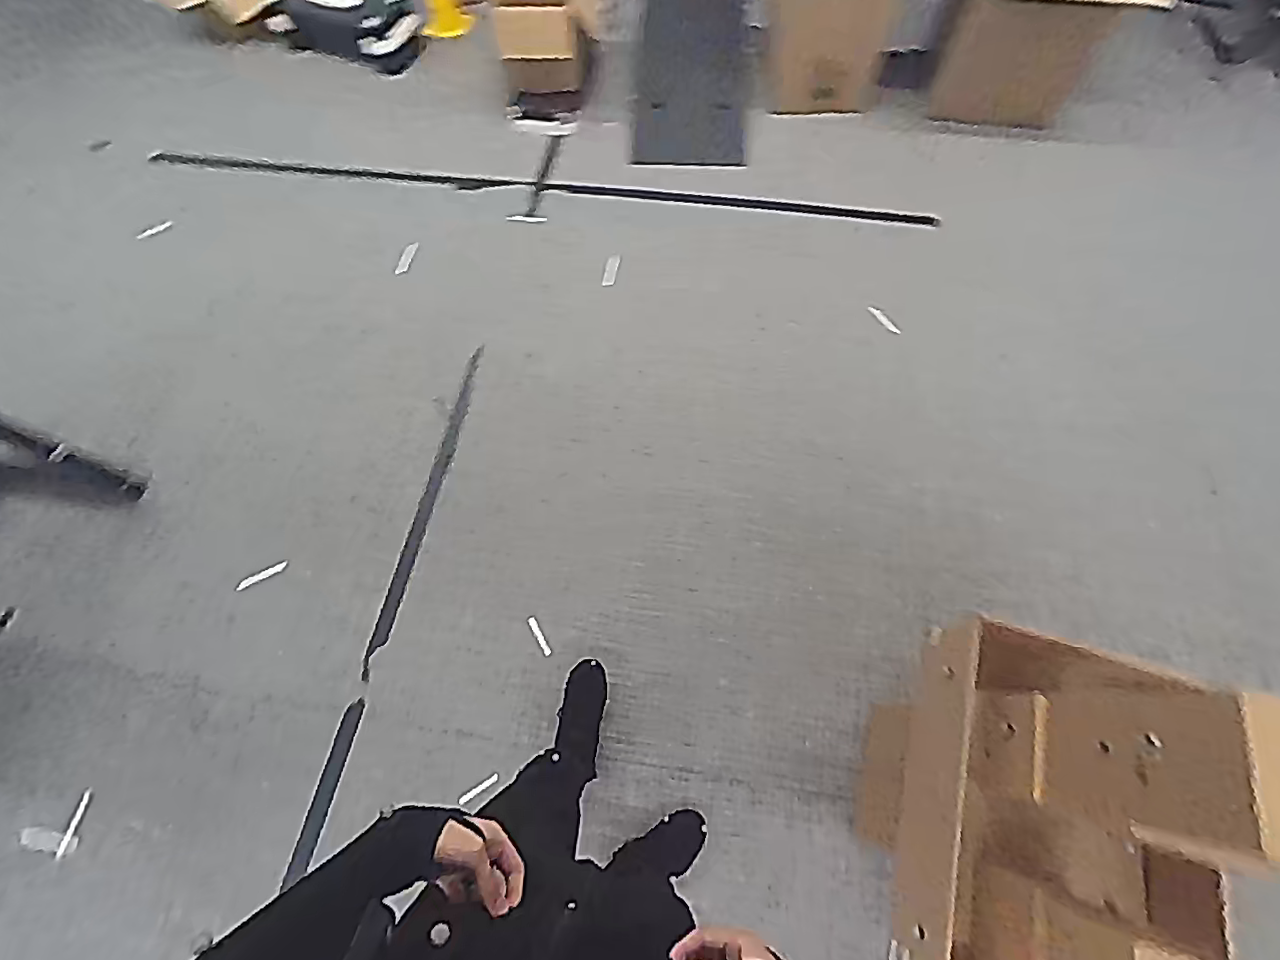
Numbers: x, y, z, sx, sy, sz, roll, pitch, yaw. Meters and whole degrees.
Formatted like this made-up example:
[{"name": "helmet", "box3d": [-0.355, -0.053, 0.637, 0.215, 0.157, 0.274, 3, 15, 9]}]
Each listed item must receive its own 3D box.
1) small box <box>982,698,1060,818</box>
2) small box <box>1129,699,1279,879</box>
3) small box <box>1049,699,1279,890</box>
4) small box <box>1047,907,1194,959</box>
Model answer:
[{"name": "small box", "box3d": [0.718, 0.484, 0.921, 0.179, 0.176, 0.168, 16, 69, 7]}, {"name": "small box", "box3d": [0.720, 0.358, 0.617, 0.179, 0.176, 0.168, 15, 68, 6]}, {"name": "small box", "box3d": [0.721, 0.427, 0.766, 0.168, 0.176, 0.179, 17, 69, 8]}, {"name": "small box", "box3d": [0.632, 0.674, 0.658, 0.168, 0.176, 0.179, 15, 68, 7]}]
